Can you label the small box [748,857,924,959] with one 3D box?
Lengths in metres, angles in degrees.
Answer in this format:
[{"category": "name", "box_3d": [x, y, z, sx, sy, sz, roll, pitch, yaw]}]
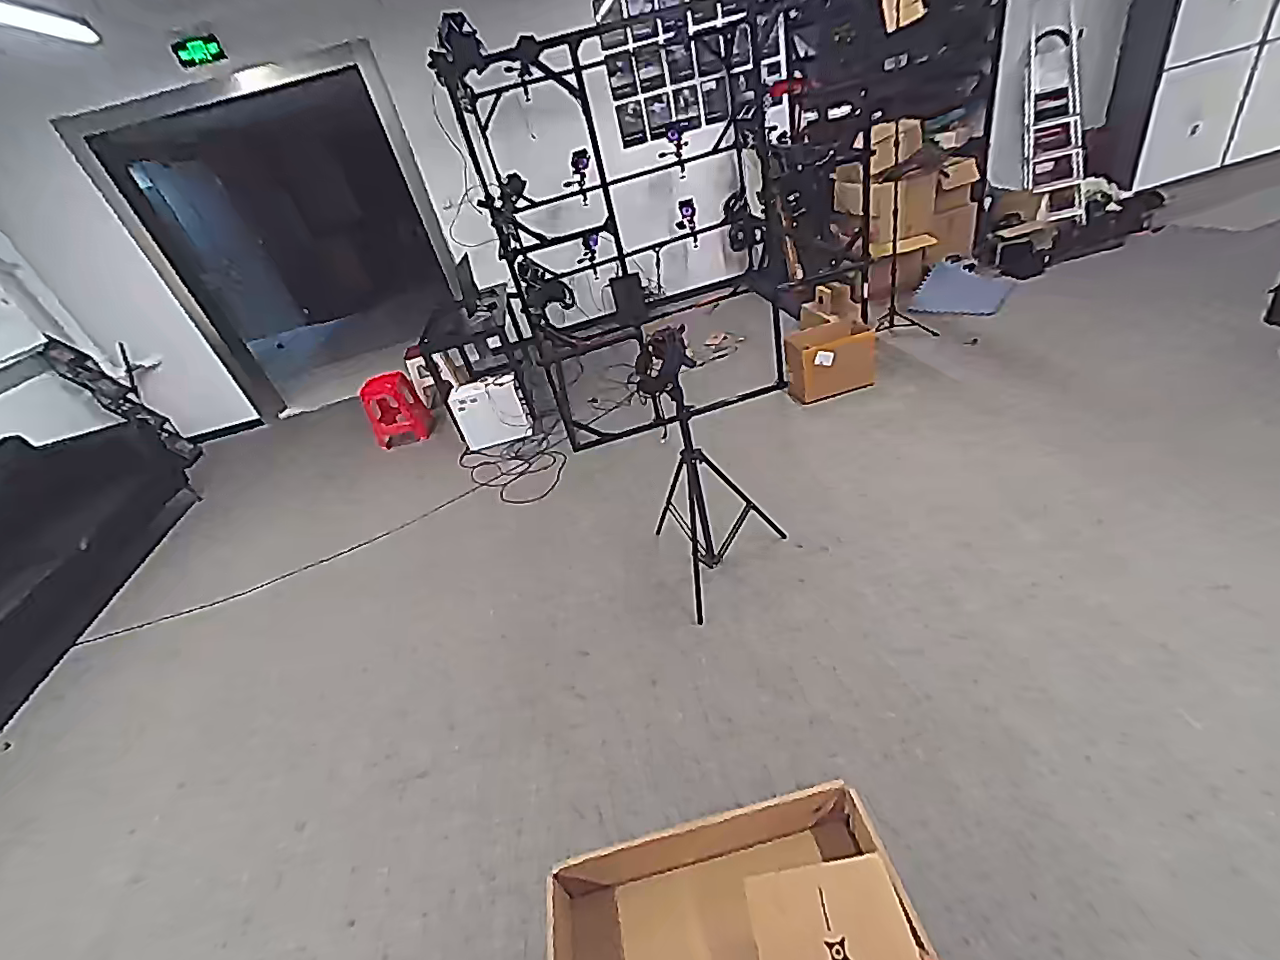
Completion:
[{"category": "small box", "box_3d": [0.229, 0.566, 0.618, 0.168, 0.176, 0.179, -13, 42, 2]}]
